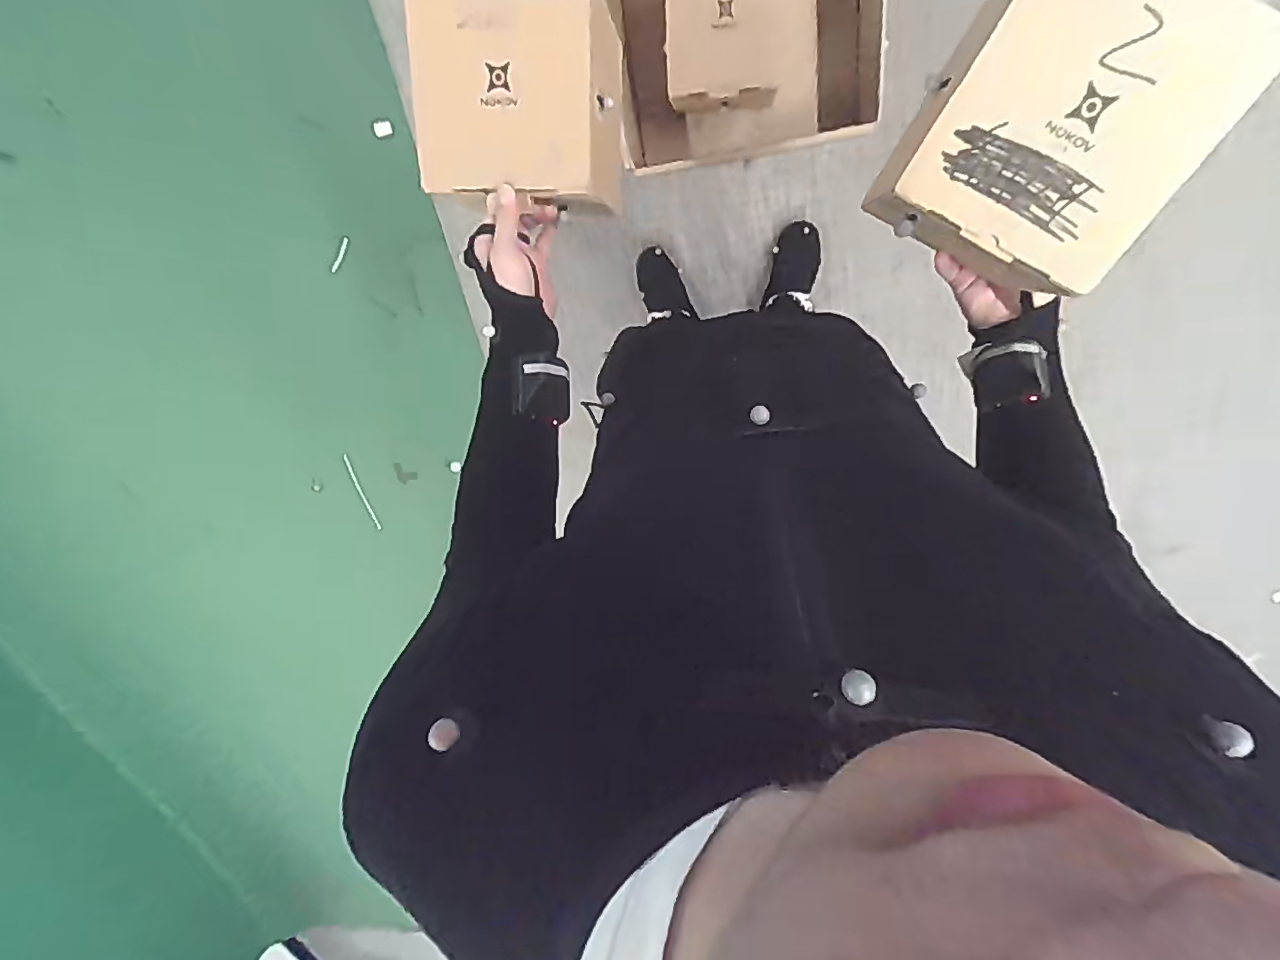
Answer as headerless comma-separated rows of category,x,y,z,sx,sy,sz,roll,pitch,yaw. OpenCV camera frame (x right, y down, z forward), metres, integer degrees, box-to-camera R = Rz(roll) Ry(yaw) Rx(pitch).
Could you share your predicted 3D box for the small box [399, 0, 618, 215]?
small box,-0.118,-0.376,0.549,0.168,0.176,0.179,4,107,7
